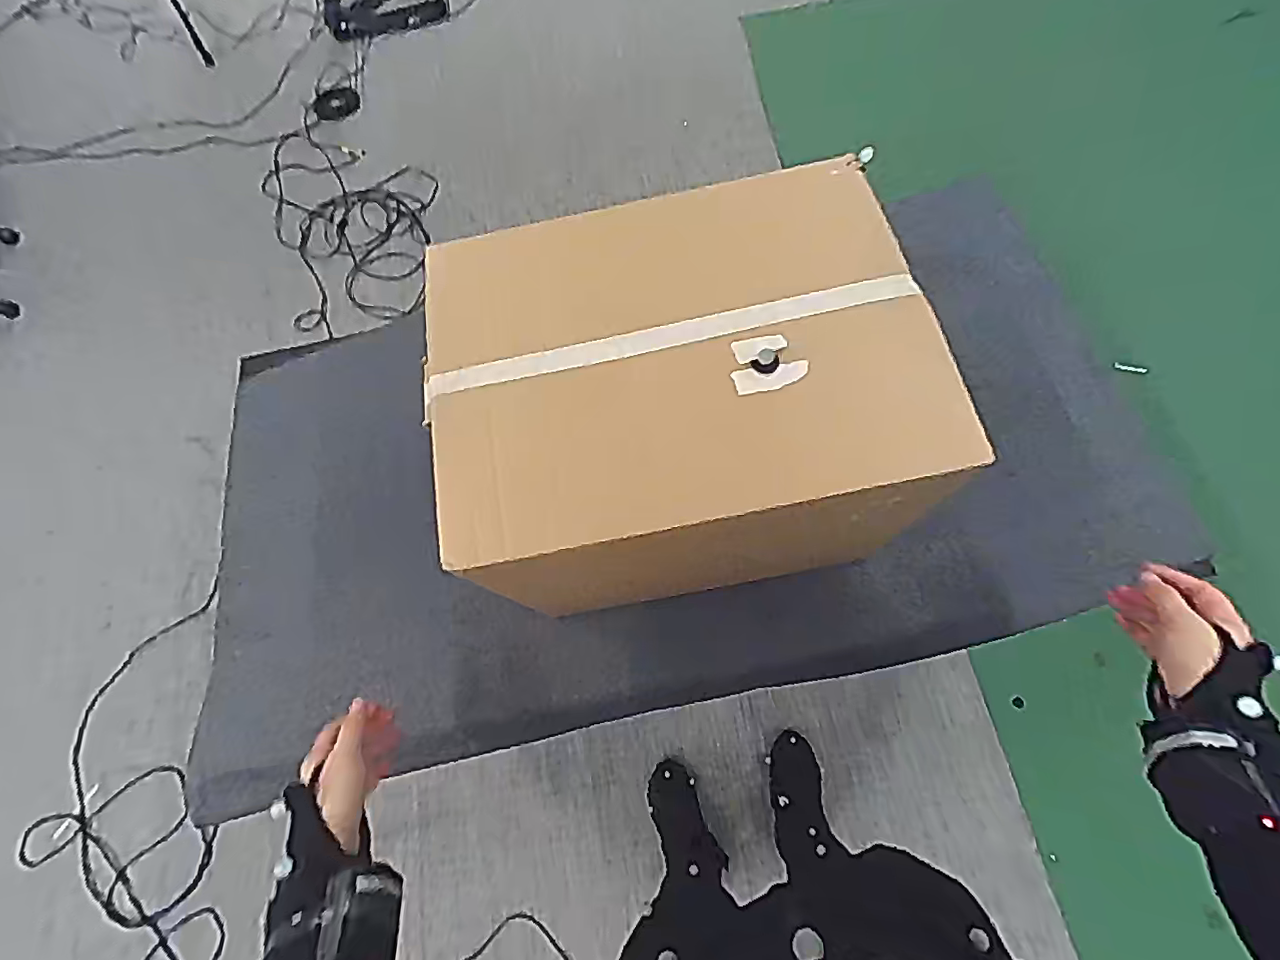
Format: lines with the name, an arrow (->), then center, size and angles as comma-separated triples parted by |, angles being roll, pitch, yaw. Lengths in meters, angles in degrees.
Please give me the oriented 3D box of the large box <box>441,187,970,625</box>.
large box -> 0.041, -0.047, 0.600 | 0.408, 0.320, 0.320 | -12, 69, 1
